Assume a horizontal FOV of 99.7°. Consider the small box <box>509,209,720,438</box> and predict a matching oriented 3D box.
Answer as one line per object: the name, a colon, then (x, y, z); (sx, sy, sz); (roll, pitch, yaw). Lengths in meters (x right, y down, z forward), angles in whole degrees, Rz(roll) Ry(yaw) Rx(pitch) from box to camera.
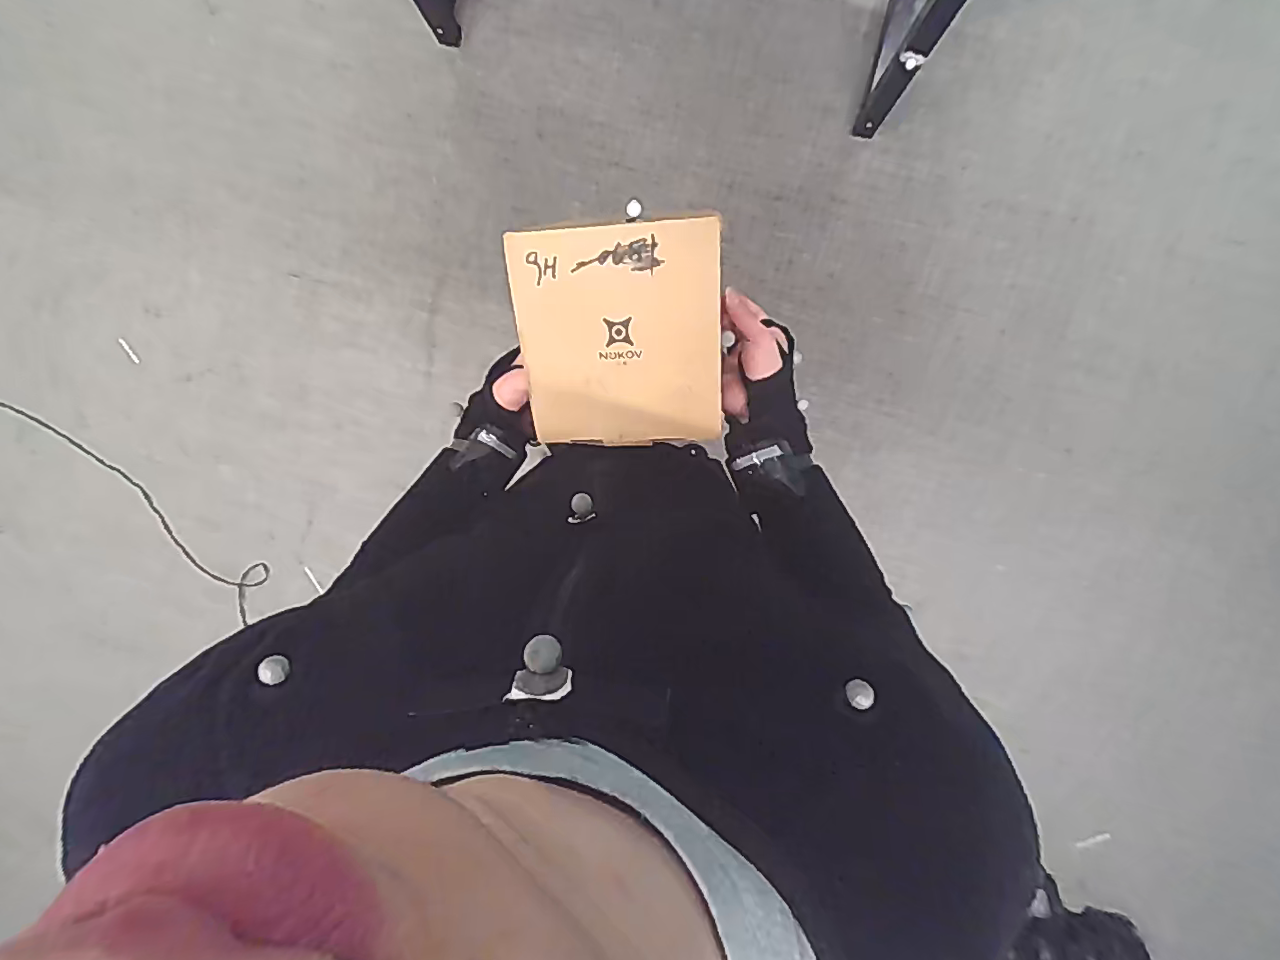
small box: (-0.008, -0.154, 0.519); (0.168, 0.176, 0.179); (-1, 119, 7)
